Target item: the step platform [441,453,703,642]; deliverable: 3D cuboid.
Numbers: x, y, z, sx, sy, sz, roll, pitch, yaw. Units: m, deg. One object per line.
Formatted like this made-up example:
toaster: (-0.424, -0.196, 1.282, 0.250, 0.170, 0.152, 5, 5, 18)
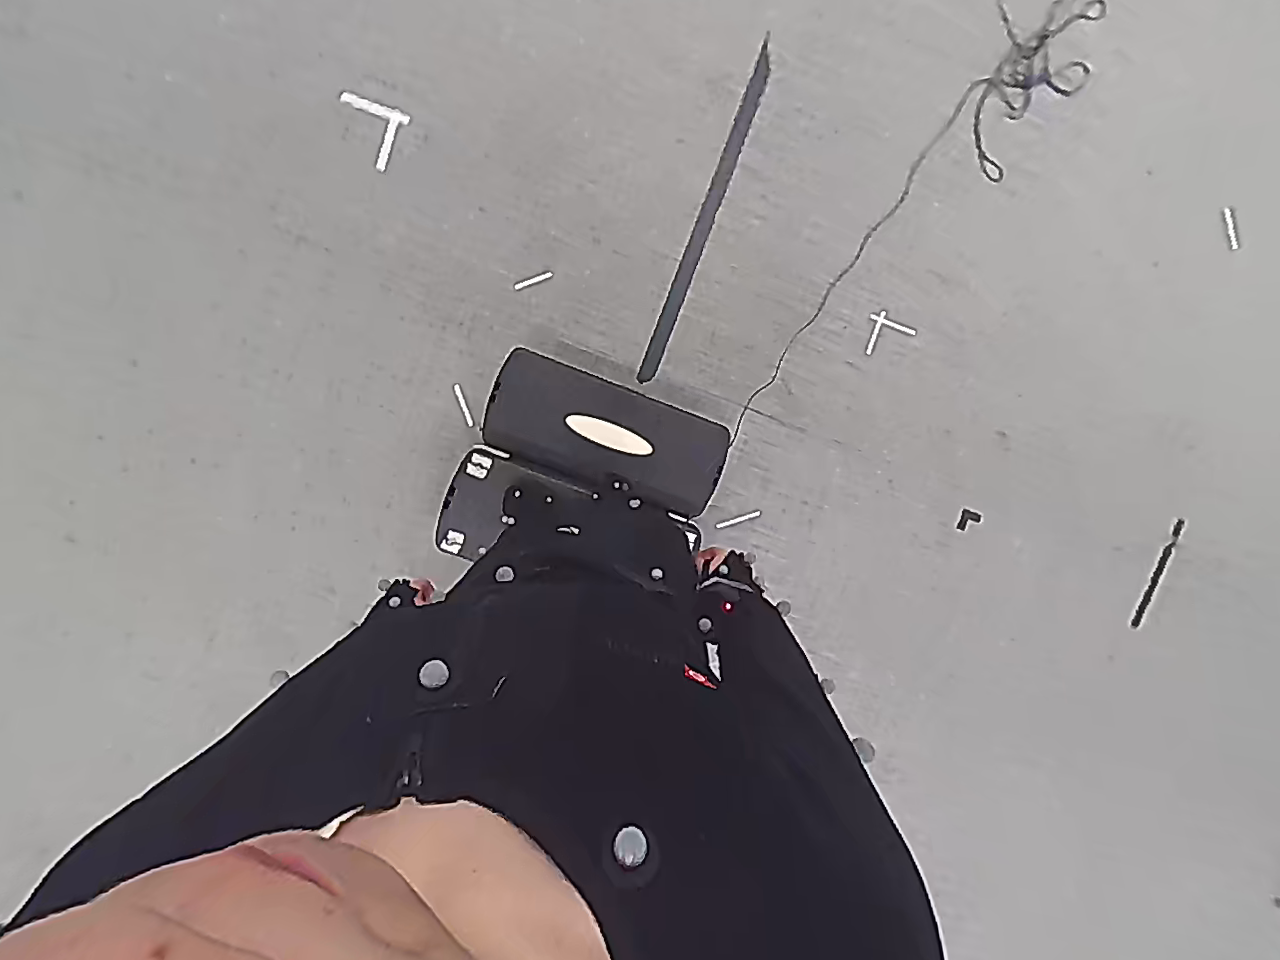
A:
step platform: (-0.174, 0.182, 1.470, 0.684, 0.204, 0.286, 24, 90, -6)
